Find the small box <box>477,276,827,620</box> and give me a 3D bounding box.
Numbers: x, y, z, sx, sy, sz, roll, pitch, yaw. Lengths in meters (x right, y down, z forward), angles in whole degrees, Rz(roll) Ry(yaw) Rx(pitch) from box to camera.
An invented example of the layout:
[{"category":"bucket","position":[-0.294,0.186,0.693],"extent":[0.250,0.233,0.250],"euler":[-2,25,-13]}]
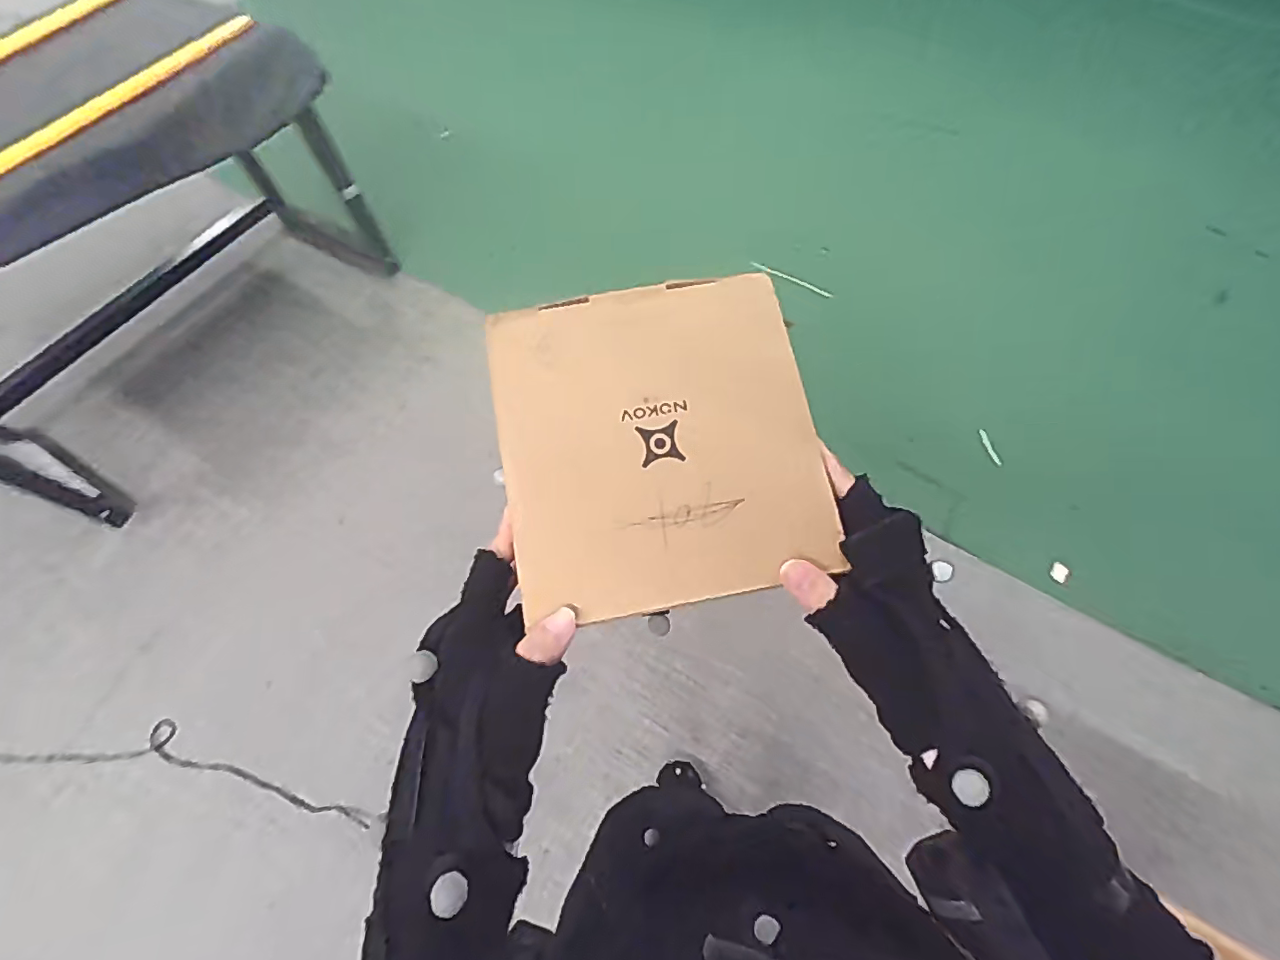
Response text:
[{"category":"small box","position":[-0.001,-0.006,0.370],"extent":[0.168,0.176,0.179],"euler":[-11,77,-4]}]
